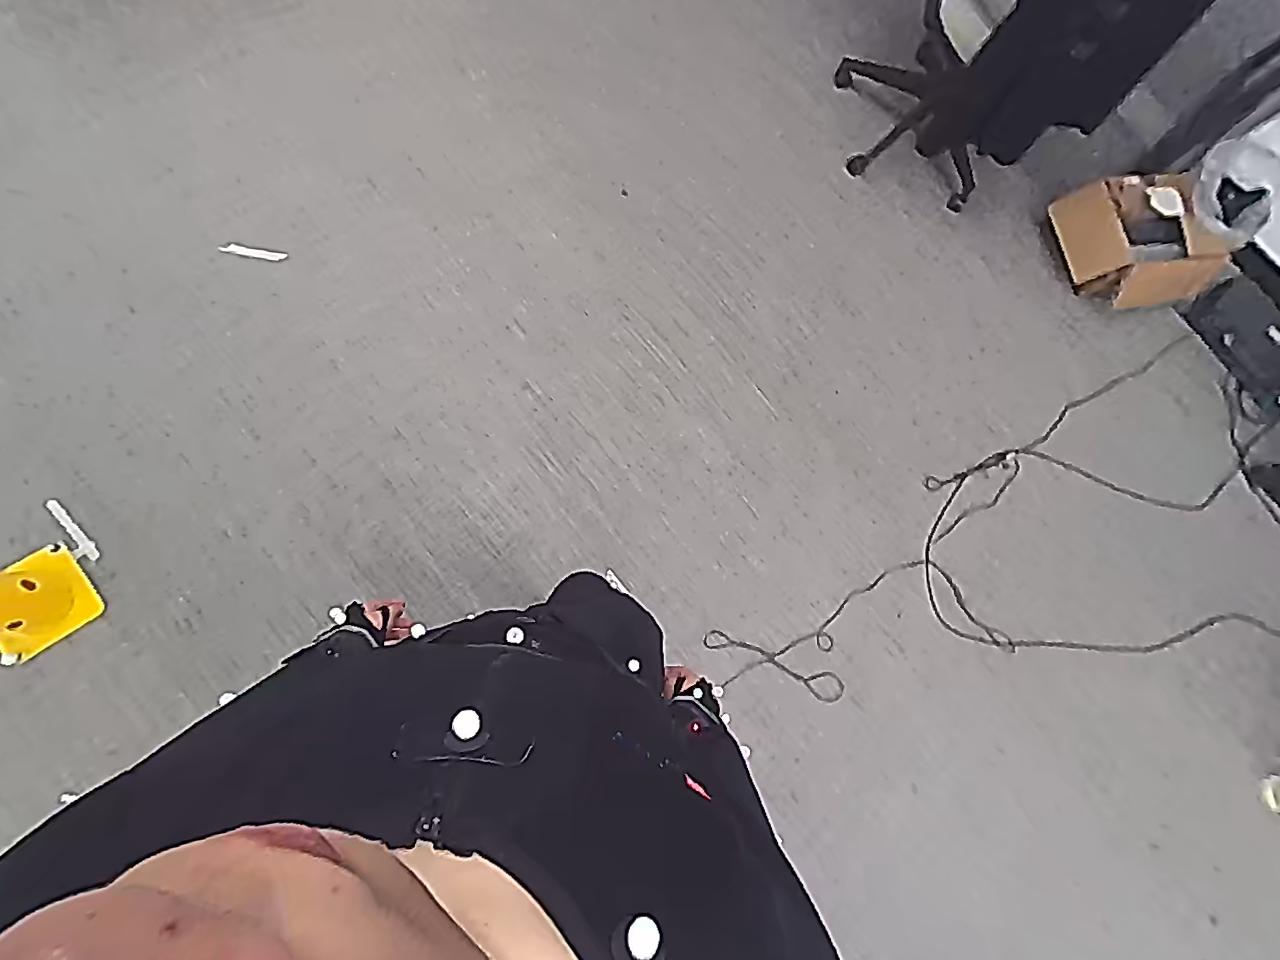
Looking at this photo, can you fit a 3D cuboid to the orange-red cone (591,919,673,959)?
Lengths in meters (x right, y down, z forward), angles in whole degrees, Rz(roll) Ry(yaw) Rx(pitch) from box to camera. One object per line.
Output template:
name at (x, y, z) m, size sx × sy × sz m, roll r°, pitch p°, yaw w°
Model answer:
orange-red cone at (0.001, 1.094, 1.052) m, size 0.198 × 0.360 × 0.199 m, roll -43°, pitch 87°, yaw -15°
